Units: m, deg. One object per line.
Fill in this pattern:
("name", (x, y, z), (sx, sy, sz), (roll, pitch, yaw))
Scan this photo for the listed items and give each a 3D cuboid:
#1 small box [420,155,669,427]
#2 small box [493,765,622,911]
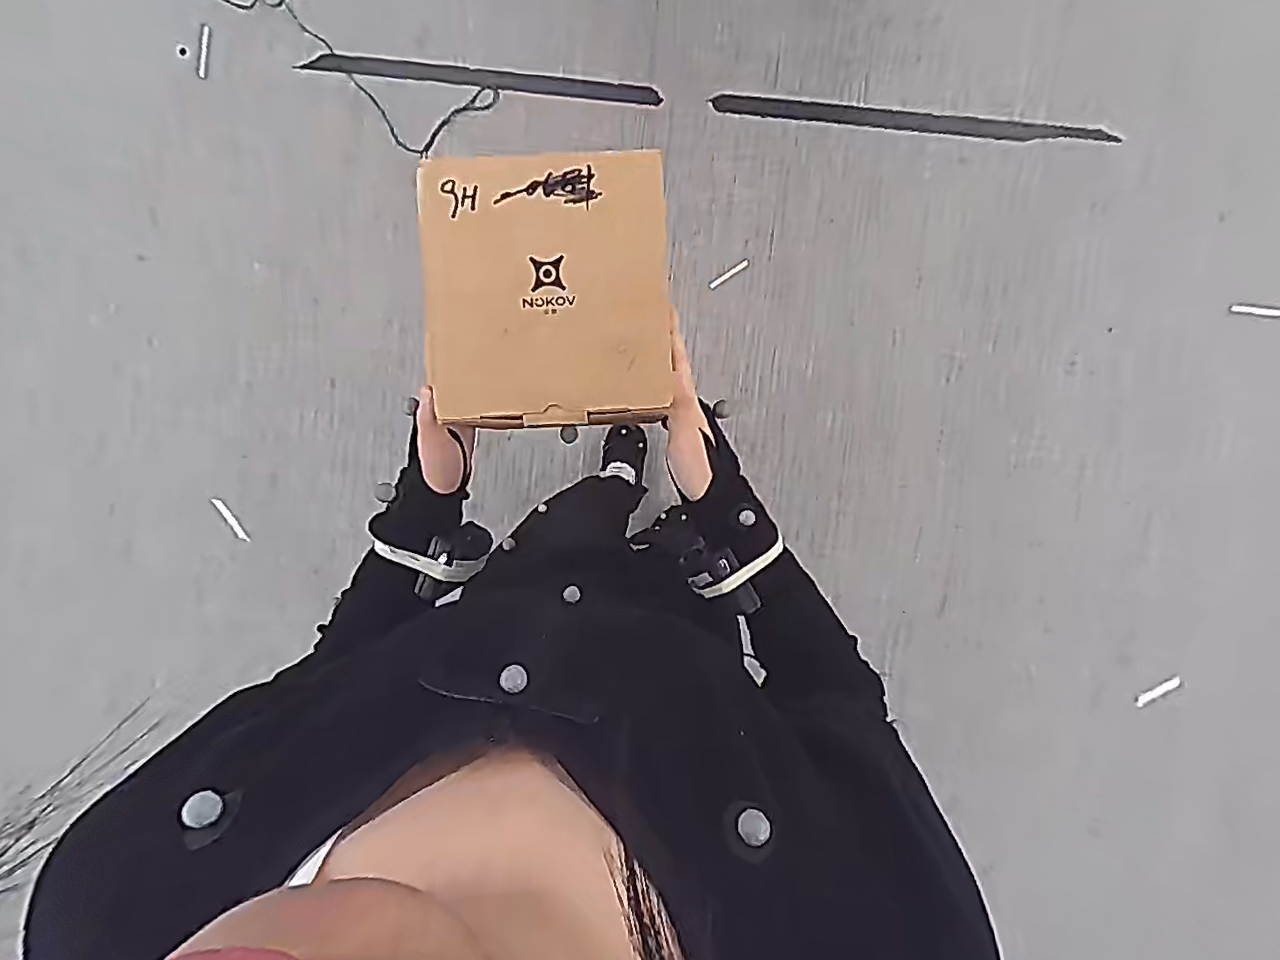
("small box", (-0.063, -0.135, 0.449), (0.168, 0.176, 0.179), (-3, 94, -1))
("small box", (-0.122, 0.567, 0.811), (0.168, 0.176, 0.179), (7, 91, 3))
